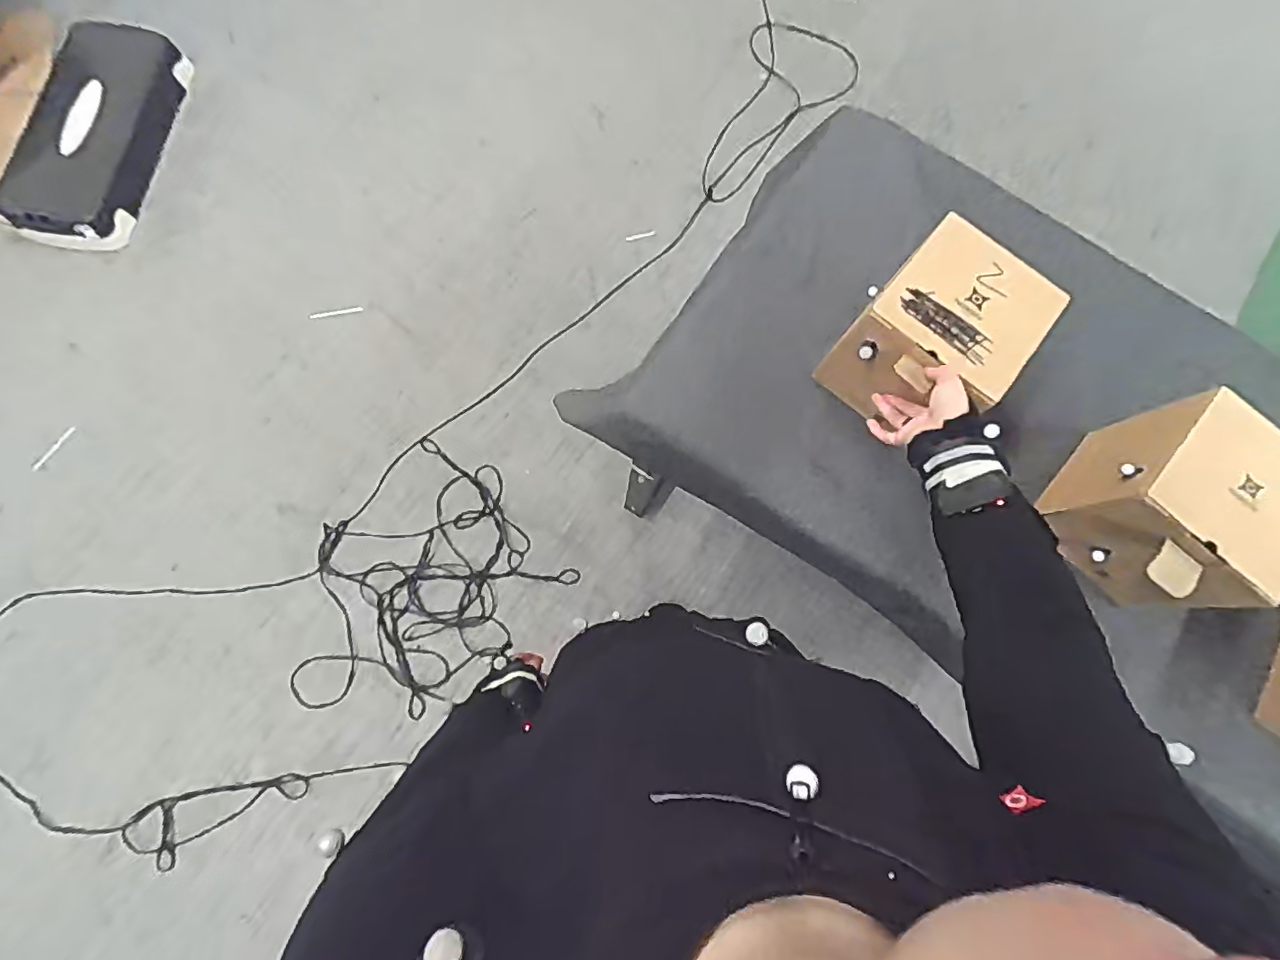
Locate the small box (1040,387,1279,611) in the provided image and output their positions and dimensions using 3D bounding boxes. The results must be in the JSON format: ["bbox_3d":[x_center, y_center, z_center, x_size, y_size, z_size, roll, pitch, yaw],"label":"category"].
[{"bbox_3d":[0.624,0.030,0.627,0.168,0.176,0.179,43,78,6],"label":"small box"}]
